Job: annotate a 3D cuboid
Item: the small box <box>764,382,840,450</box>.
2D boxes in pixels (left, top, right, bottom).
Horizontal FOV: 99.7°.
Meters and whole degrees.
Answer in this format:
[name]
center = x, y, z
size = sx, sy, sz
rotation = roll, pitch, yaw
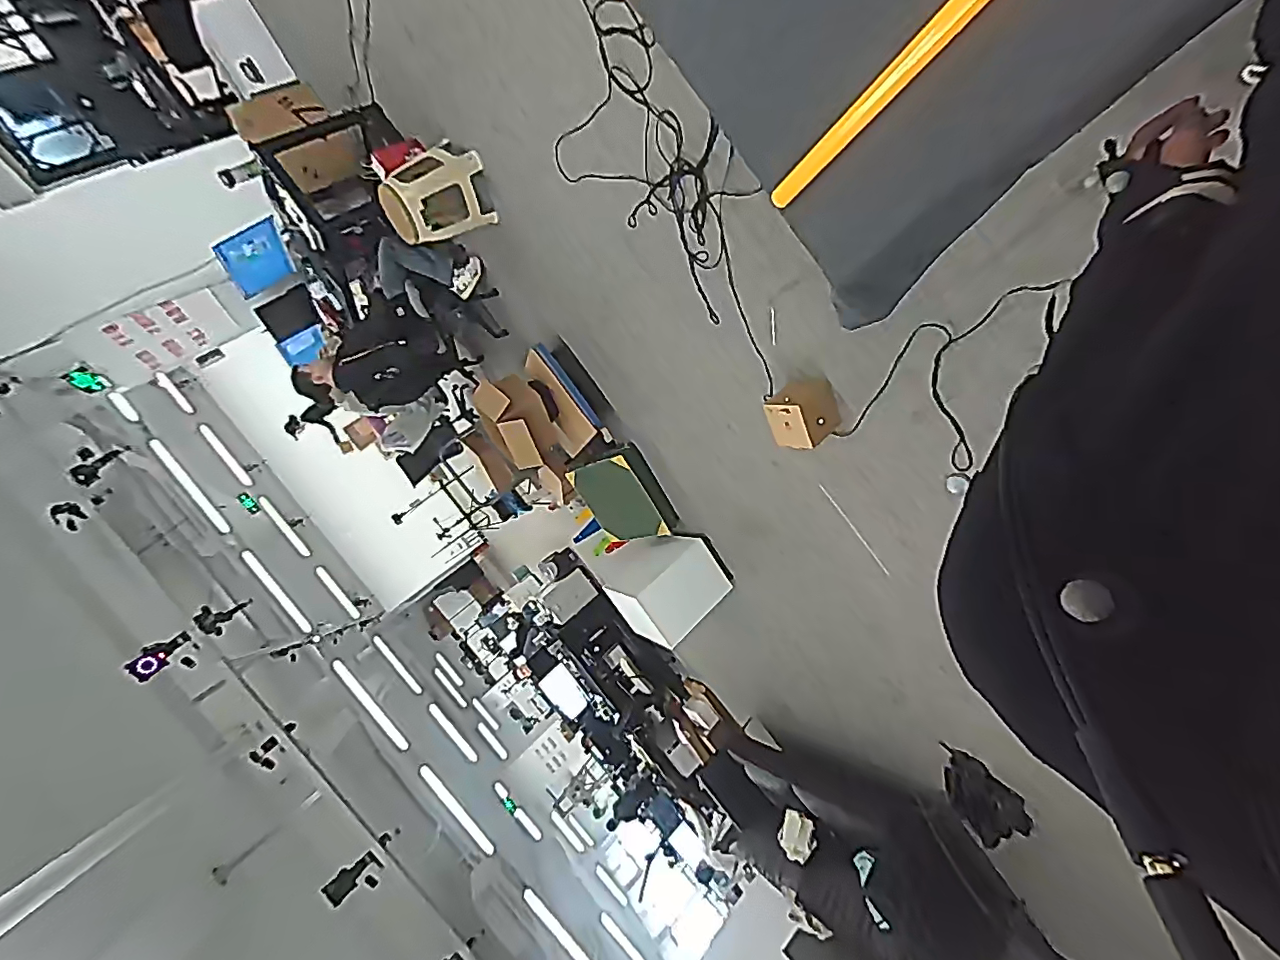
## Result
[small box]
center = 0.576, -0.228, 1.902
size = 0.168, 0.176, 0.179
rotation = 14, 136, 57
